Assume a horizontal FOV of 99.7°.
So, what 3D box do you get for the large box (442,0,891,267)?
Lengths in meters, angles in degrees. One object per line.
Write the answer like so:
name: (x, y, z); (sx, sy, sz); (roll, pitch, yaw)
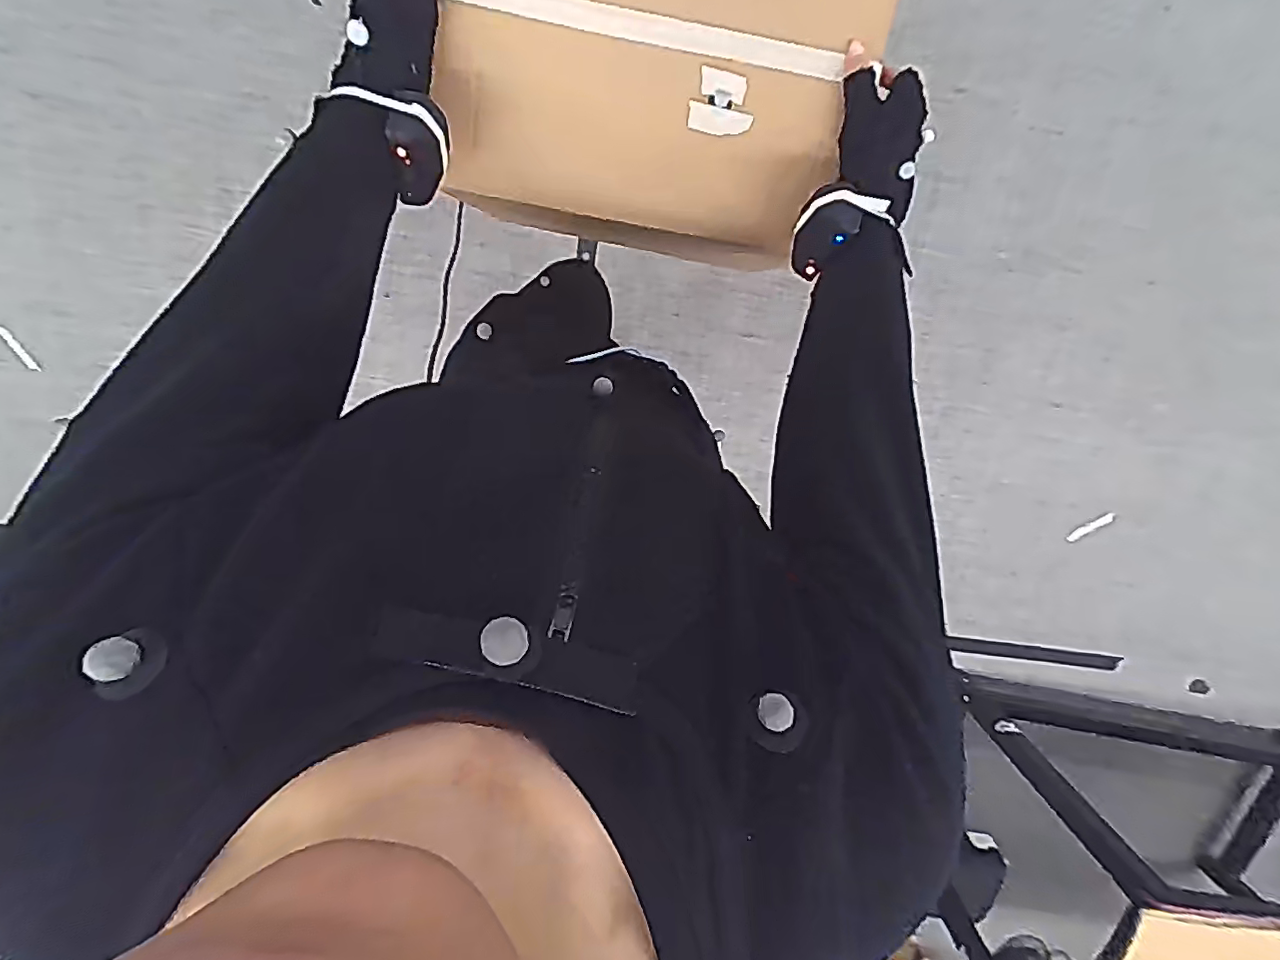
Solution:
large box: (0.017, -0.451, 0.638); (0.408, 0.320, 0.320); (9, 110, -4)
